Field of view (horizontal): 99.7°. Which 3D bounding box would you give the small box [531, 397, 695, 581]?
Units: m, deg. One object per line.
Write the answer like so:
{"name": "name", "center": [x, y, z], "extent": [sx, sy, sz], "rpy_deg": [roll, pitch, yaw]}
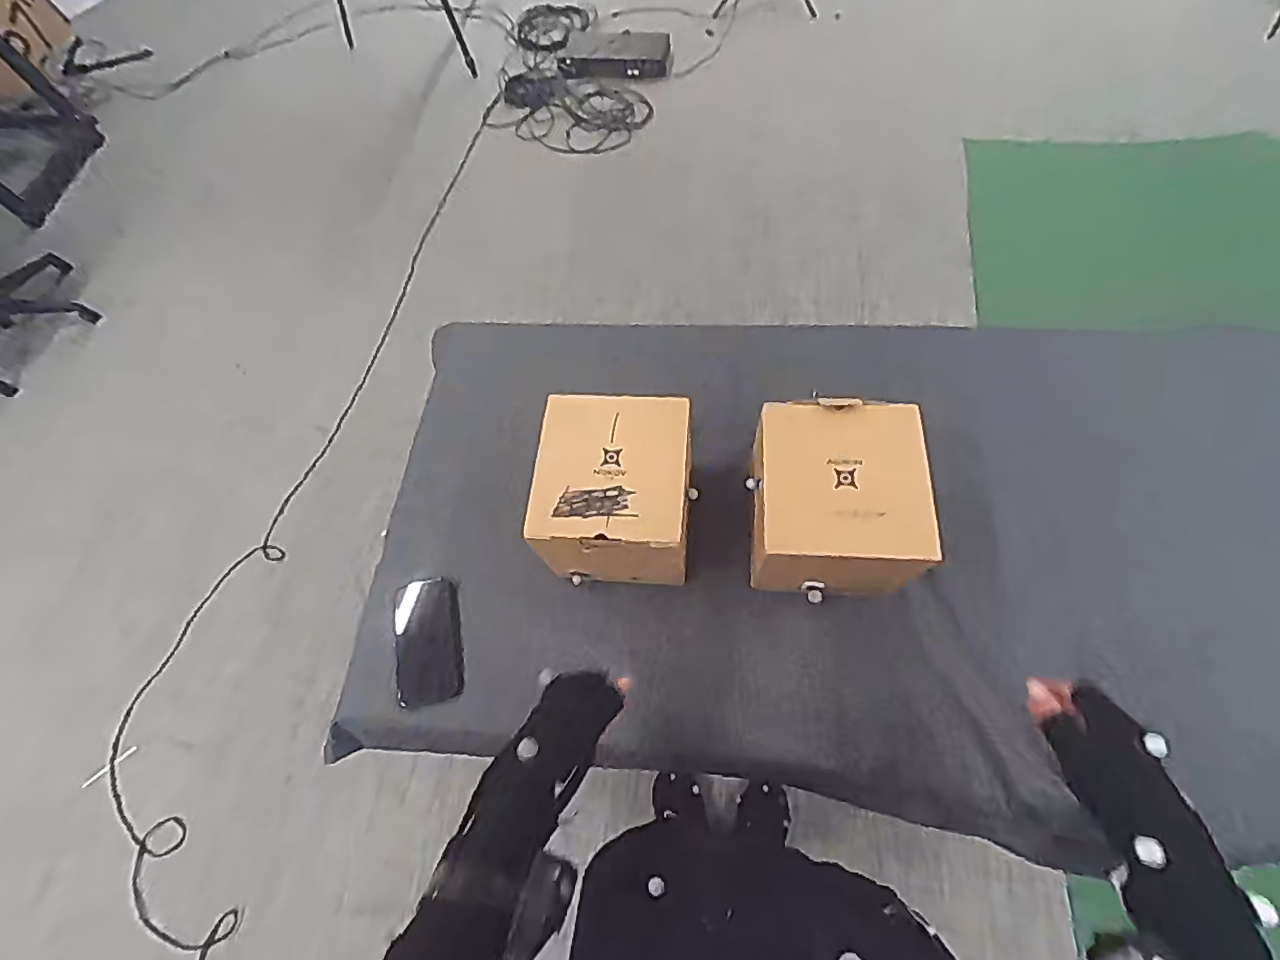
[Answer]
{"name": "small box", "center": [-0.019, 0.018, 0.662], "extent": [0.168, 0.176, 0.179], "rpy_deg": [2, 65, 7]}

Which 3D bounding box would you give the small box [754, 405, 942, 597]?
{"name": "small box", "center": [0.225, 0.029, 0.635], "extent": [0.168, 0.176, 0.179], "rpy_deg": [1, 67, 7]}
